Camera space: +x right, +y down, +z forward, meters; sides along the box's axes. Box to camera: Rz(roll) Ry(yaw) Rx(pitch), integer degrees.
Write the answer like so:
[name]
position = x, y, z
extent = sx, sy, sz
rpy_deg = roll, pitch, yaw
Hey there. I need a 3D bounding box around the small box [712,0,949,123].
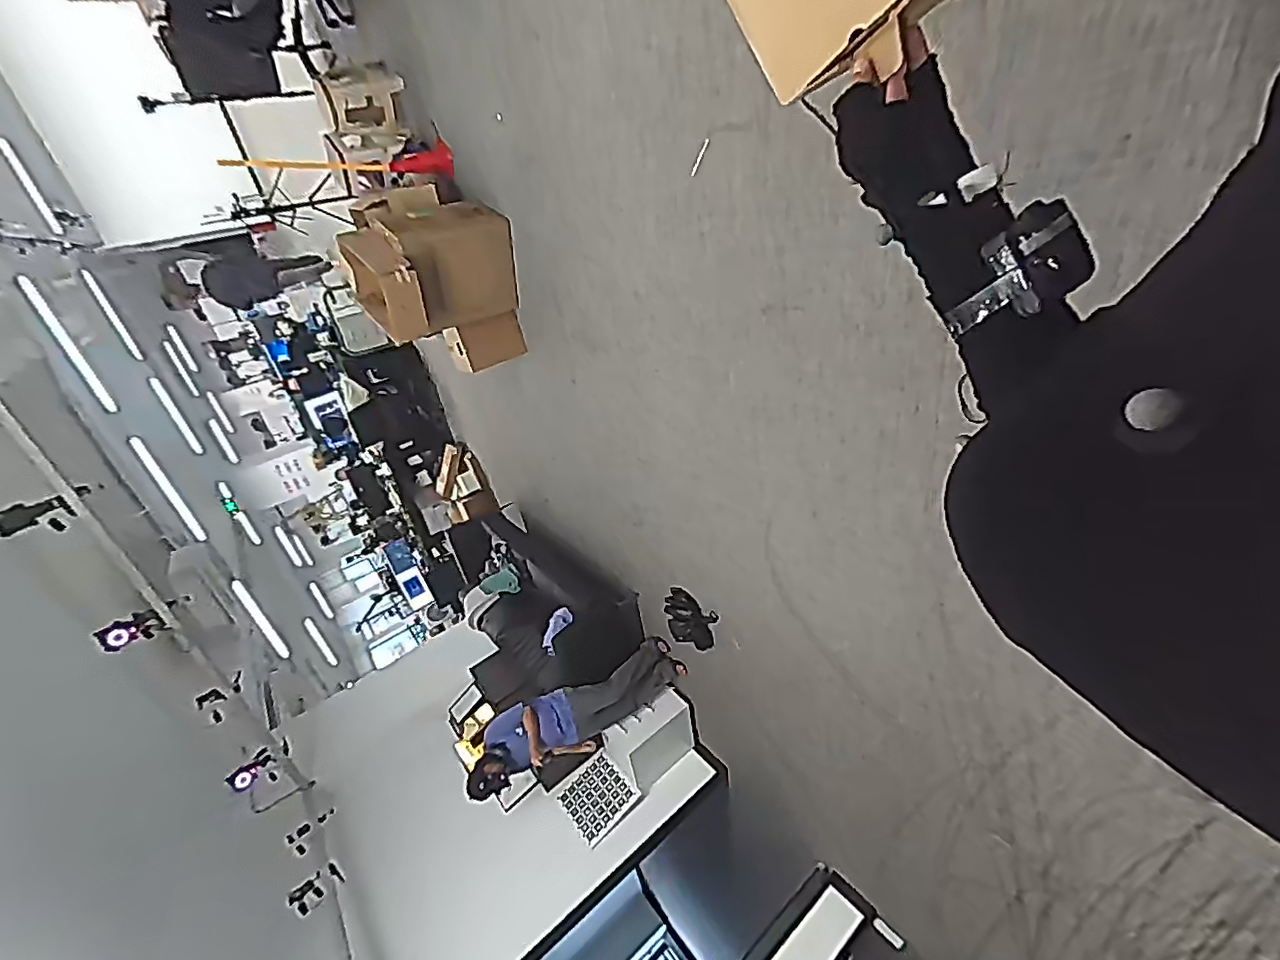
[small box]
position = 0.166, -0.430, 0.409
extent = 0.179, 0.176, 0.168
rpy_deg = 55, 158, -14
